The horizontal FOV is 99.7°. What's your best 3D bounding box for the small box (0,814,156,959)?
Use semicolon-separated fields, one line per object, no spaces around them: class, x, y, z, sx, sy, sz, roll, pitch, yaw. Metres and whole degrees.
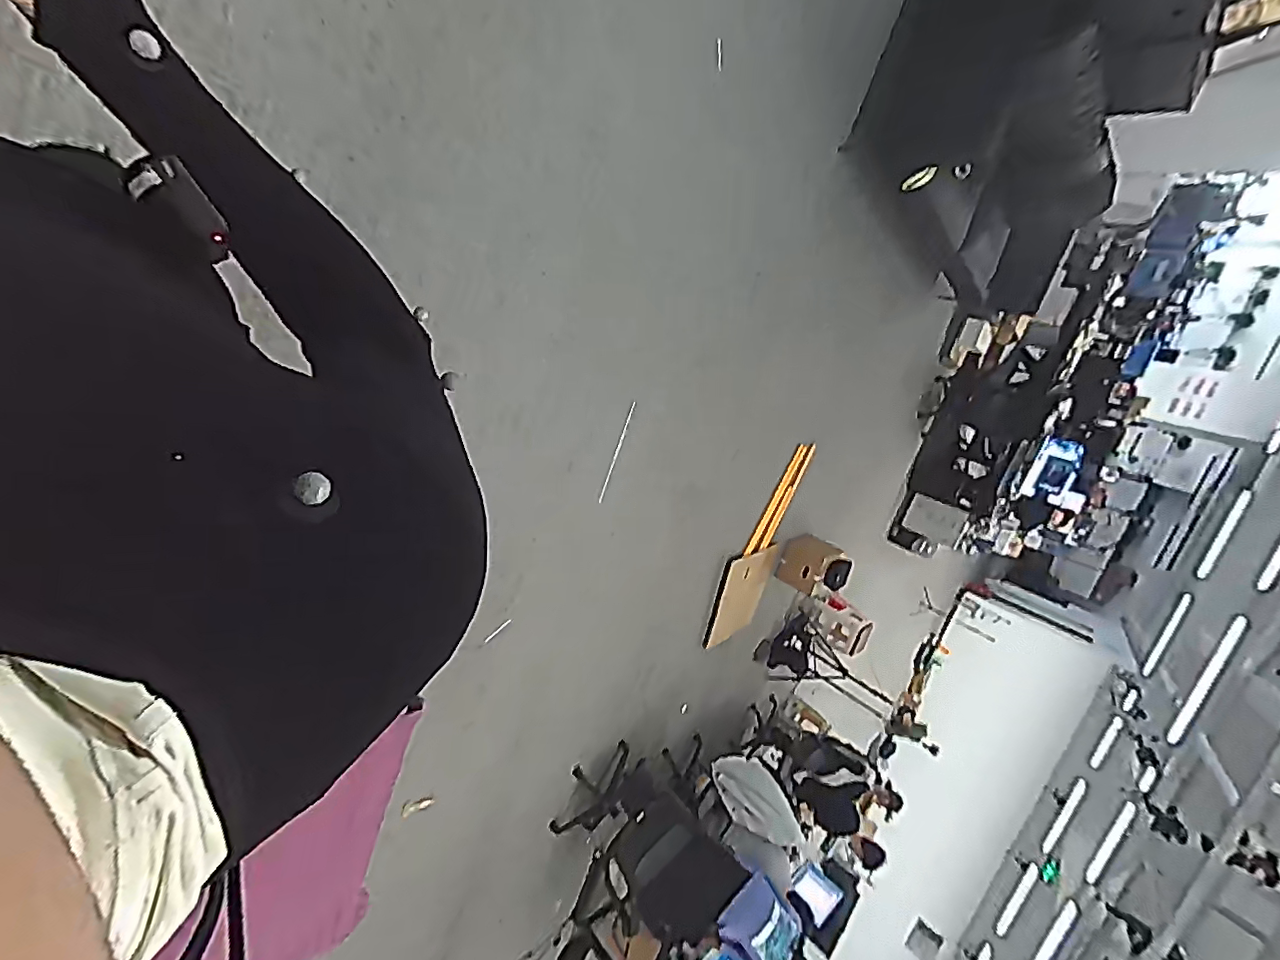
small box;-0.826;0.634;0.775;0.168;0.176;0.179;7;107;-50
